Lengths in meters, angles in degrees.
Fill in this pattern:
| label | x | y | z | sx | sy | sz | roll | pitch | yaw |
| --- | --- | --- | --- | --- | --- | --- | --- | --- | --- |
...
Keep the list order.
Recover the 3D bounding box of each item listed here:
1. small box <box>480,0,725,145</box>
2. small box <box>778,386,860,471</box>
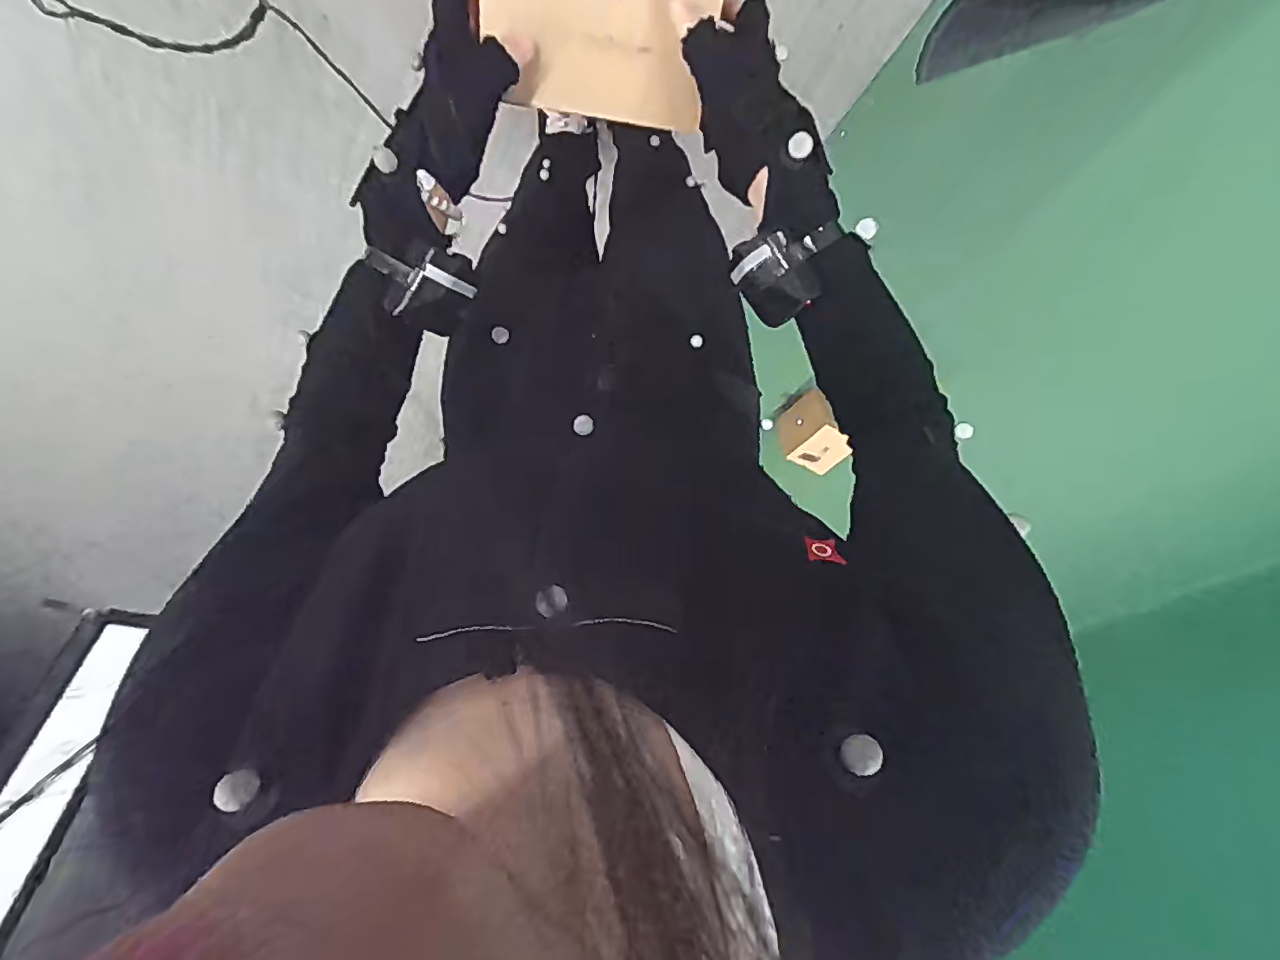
| label | x | y | z | sx | sy | sz | roll | pitch | yaw |
| --- | --- | --- | --- | --- | --- | --- | --- | --- | --- |
| small box | -0.032 | -0.385 | 0.414 | 0.168 | 0.176 | 0.179 | 3 | 131 | -11 |
| small box | 0.560 | -0.162 | 1.722 | 0.168 | 0.176 | 0.179 | 21 | 136 | -26 |
